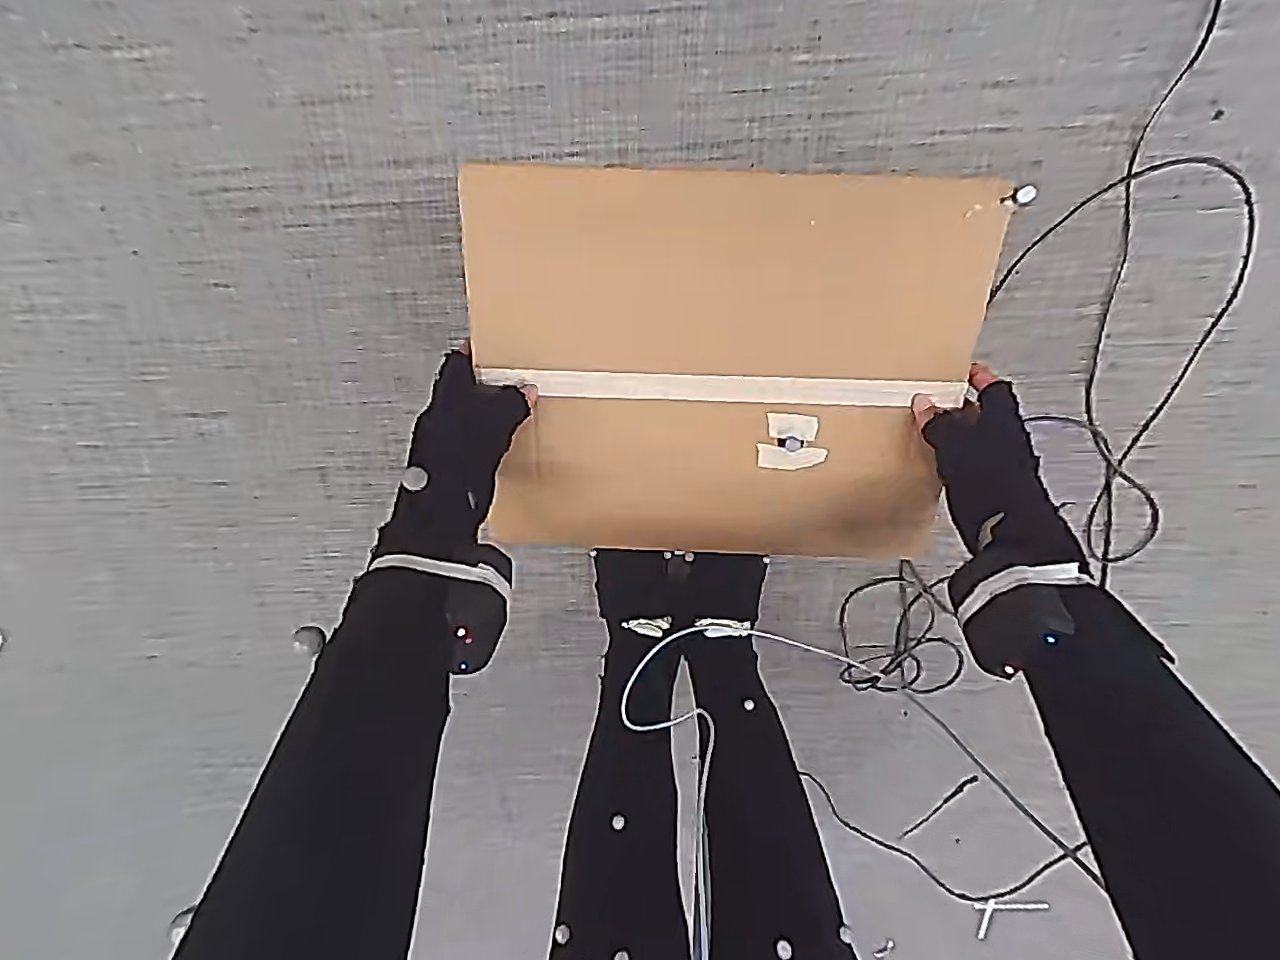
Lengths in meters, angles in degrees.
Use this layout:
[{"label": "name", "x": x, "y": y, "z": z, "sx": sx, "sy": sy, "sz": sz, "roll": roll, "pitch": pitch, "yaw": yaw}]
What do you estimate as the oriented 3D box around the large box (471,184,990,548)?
[{"label": "large box", "x": 0.068, "y": -0.132, "z": 0.603, "sx": 0.408, "sy": 0.320, "sz": 0.320, "roll": 1, "pitch": 112, "yaw": 1}]
